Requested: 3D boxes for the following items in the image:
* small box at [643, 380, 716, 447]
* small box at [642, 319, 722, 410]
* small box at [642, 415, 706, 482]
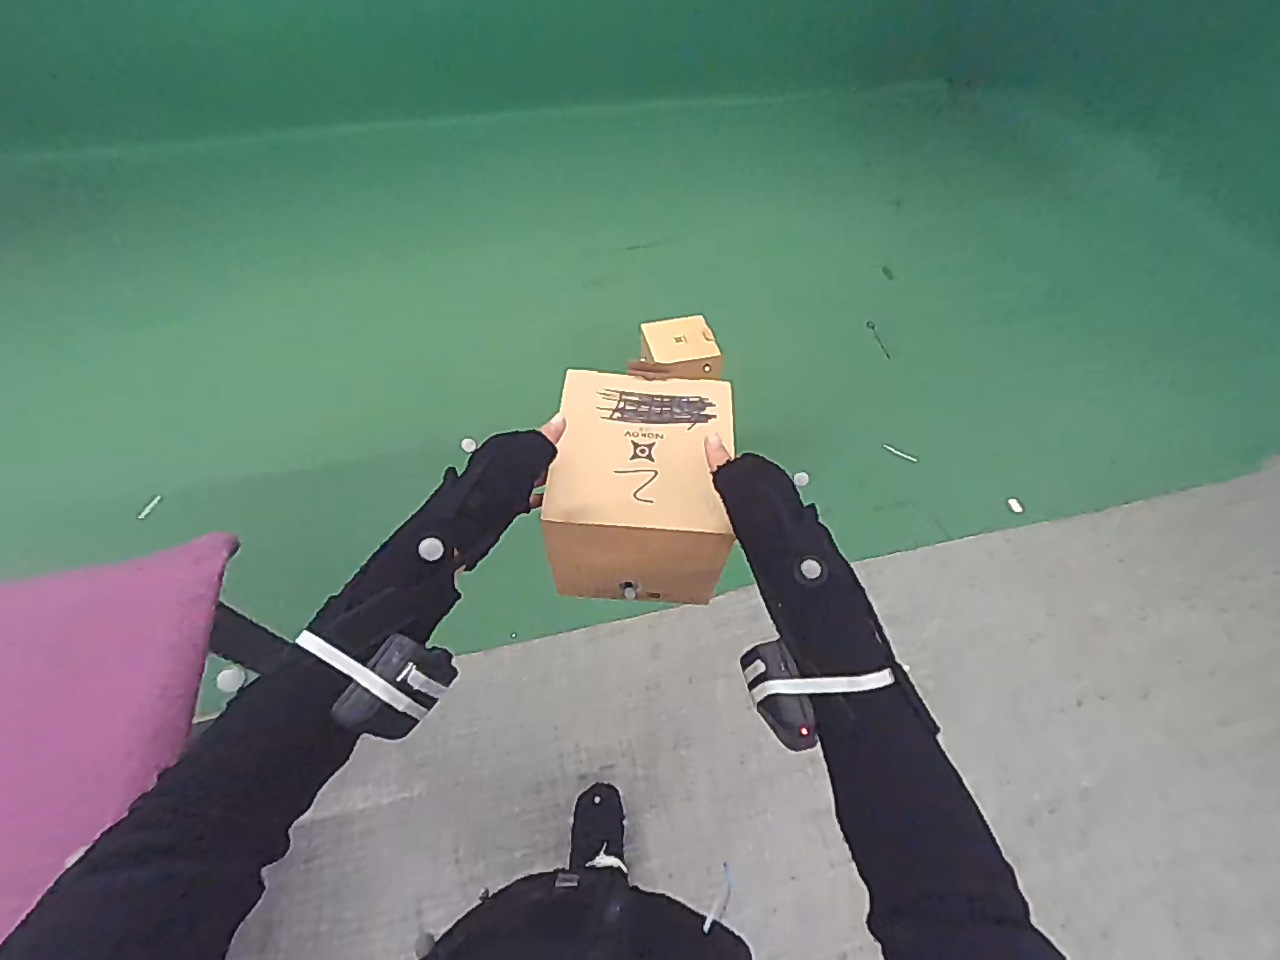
[{"bbox_3d":[0.109,-0.218,1.602,0.179,0.176,0.168,-9,54,-8],"label":"small box"},{"bbox_3d":[0.107,-0.310,1.471,0.179,0.176,0.168,-11,55,-9],"label":"small box"},{"bbox_3d":[0.103,-0.118,1.736,0.168,0.176,0.179,-11,56,-8],"label":"small box"}]
